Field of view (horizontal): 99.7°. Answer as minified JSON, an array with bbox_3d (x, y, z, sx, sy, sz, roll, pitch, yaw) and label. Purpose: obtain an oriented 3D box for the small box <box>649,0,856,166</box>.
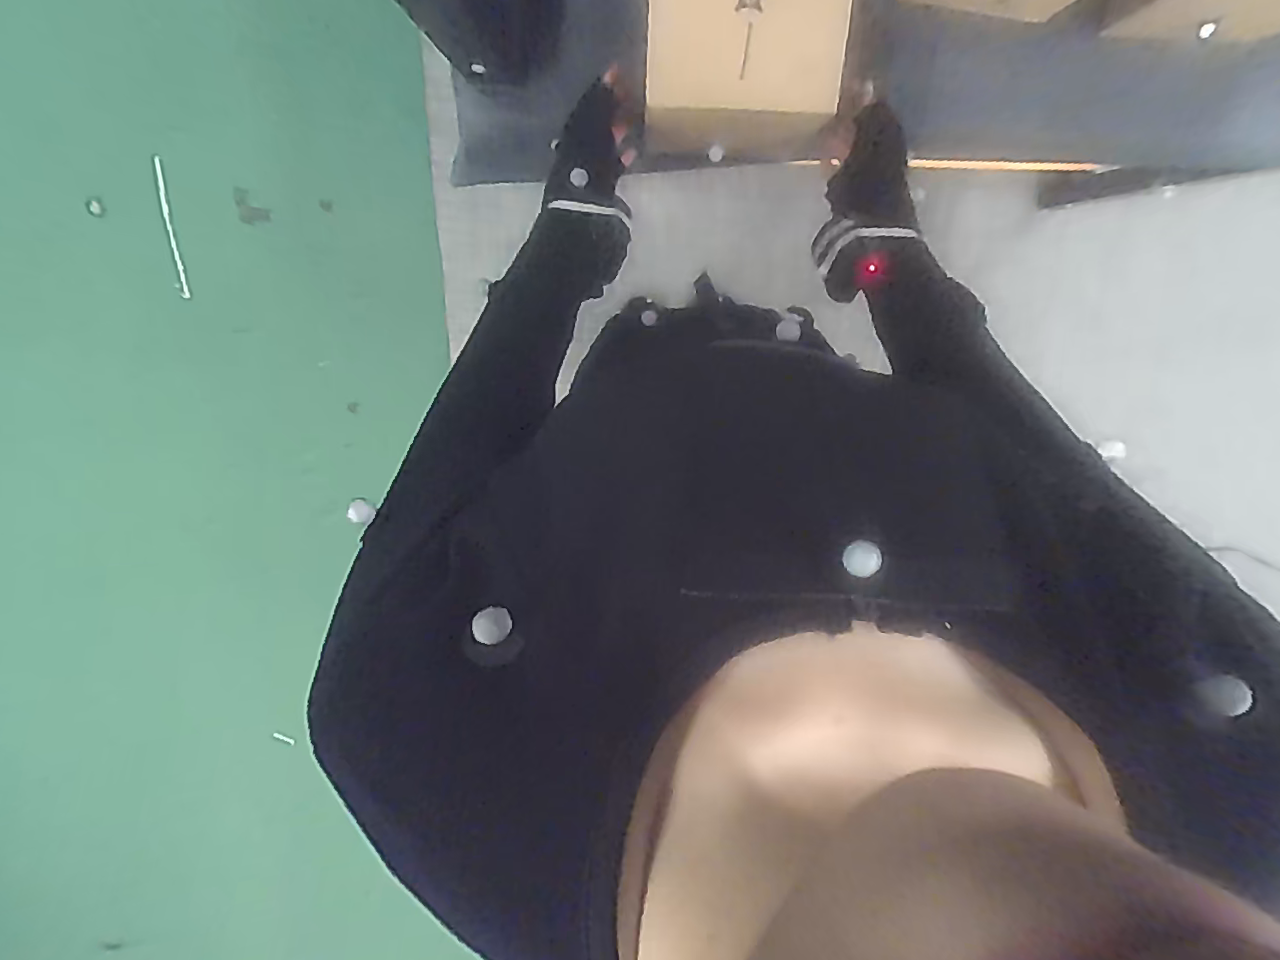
[{"bbox_3d":[0.094,-0.418,0.513,0.168,0.176,0.179,2,109,1],"label":"small box"}]
